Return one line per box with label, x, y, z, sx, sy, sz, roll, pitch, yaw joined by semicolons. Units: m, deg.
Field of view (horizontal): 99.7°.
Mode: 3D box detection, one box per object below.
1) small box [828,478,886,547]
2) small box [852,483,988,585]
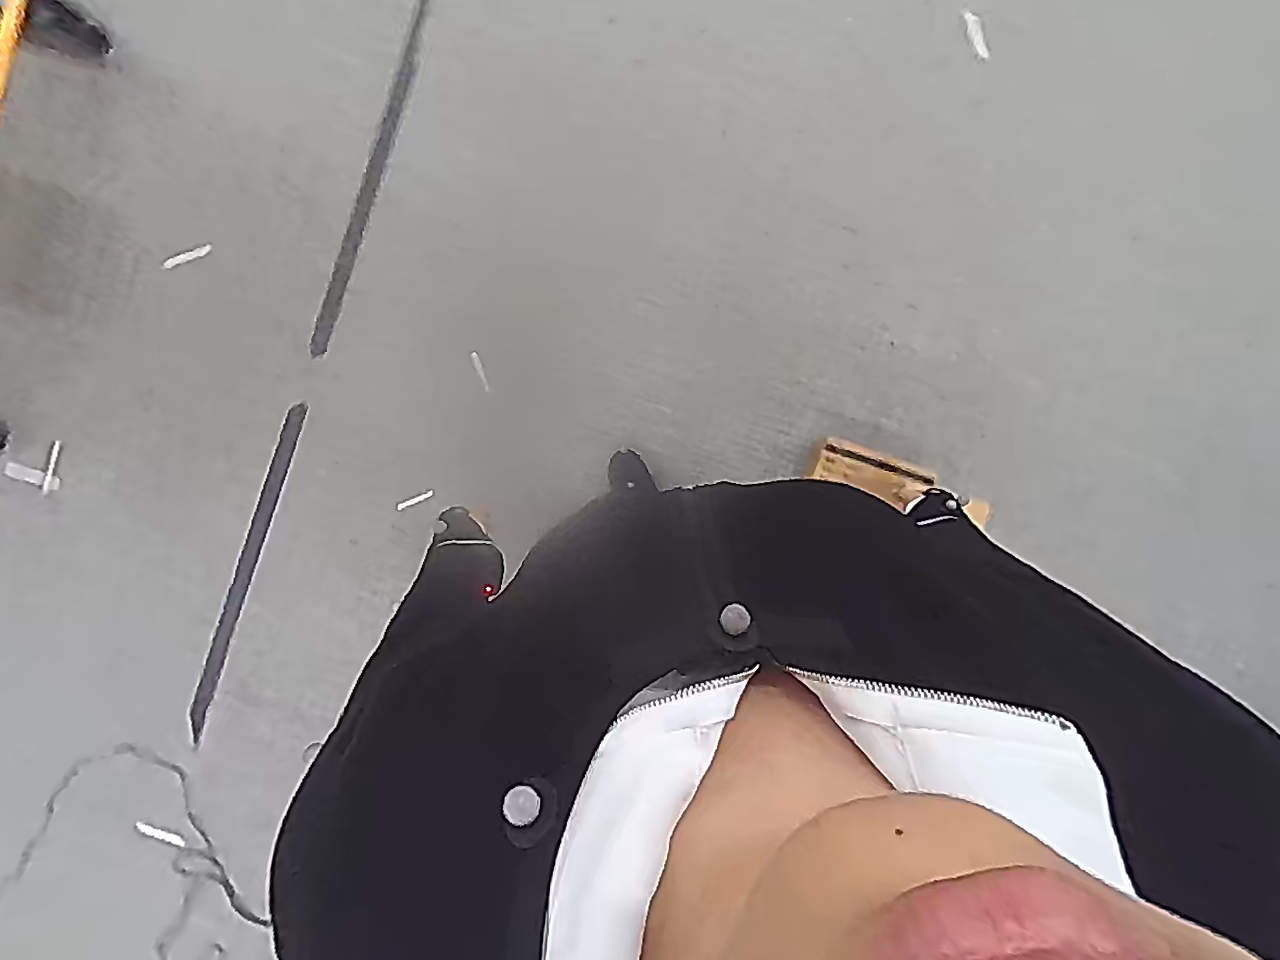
small box;0.580;0.100;1.305;0.179;0.176;0.168;21;93;0
small box;0.580;0.105;1.142;0.179;0.176;0.168;14;93;0
